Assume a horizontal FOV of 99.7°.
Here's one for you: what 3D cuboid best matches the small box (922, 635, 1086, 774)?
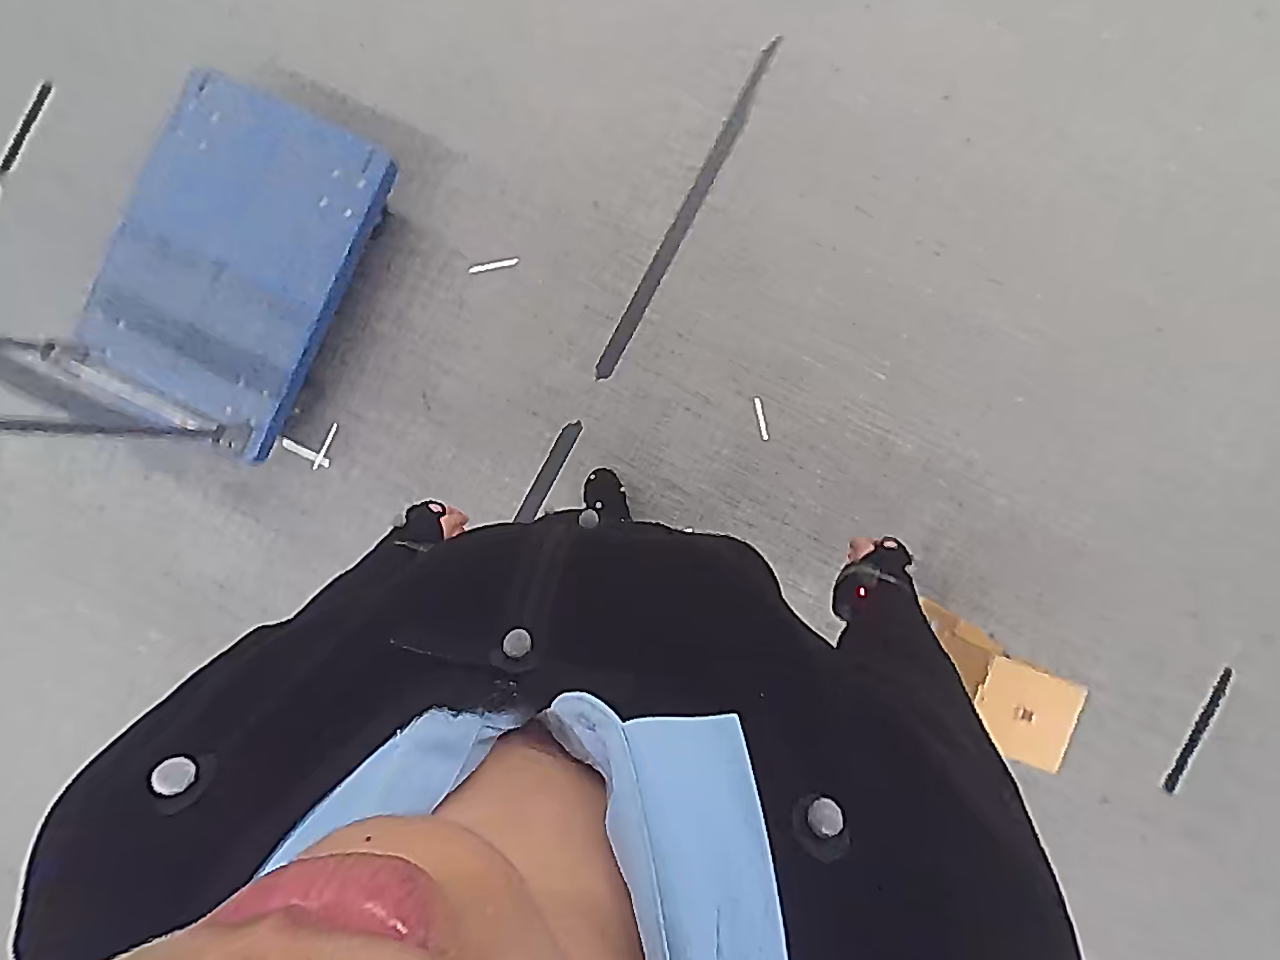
[{"bbox_3d":[0.691,0.422,1.047,0.179,0.176,0.168,20,91,3],"label":"small box"}]

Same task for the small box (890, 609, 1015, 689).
[{"bbox_3d":[0.705,0.410,1.210,0.179,0.176,0.168,32,91,3],"label":"small box"}]
